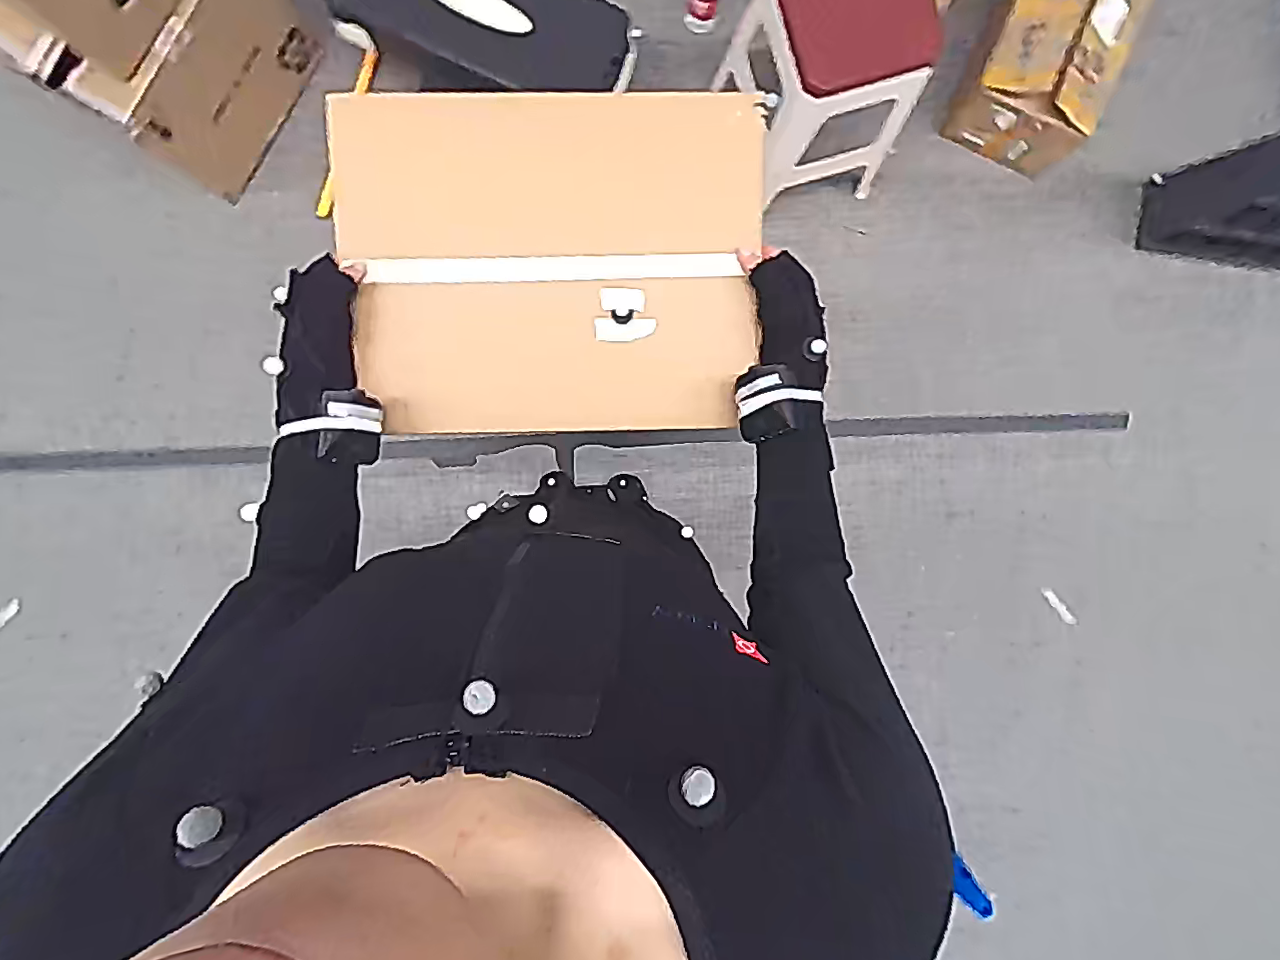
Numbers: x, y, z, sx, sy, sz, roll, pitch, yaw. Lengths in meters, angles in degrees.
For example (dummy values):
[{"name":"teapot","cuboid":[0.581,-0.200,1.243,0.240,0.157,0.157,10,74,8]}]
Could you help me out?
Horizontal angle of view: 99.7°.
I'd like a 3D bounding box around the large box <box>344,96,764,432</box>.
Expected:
[{"name":"large box","cuboid":[-0.082,-0.227,0.676,0.408,0.320,0.320,-1,98,-2]}]
